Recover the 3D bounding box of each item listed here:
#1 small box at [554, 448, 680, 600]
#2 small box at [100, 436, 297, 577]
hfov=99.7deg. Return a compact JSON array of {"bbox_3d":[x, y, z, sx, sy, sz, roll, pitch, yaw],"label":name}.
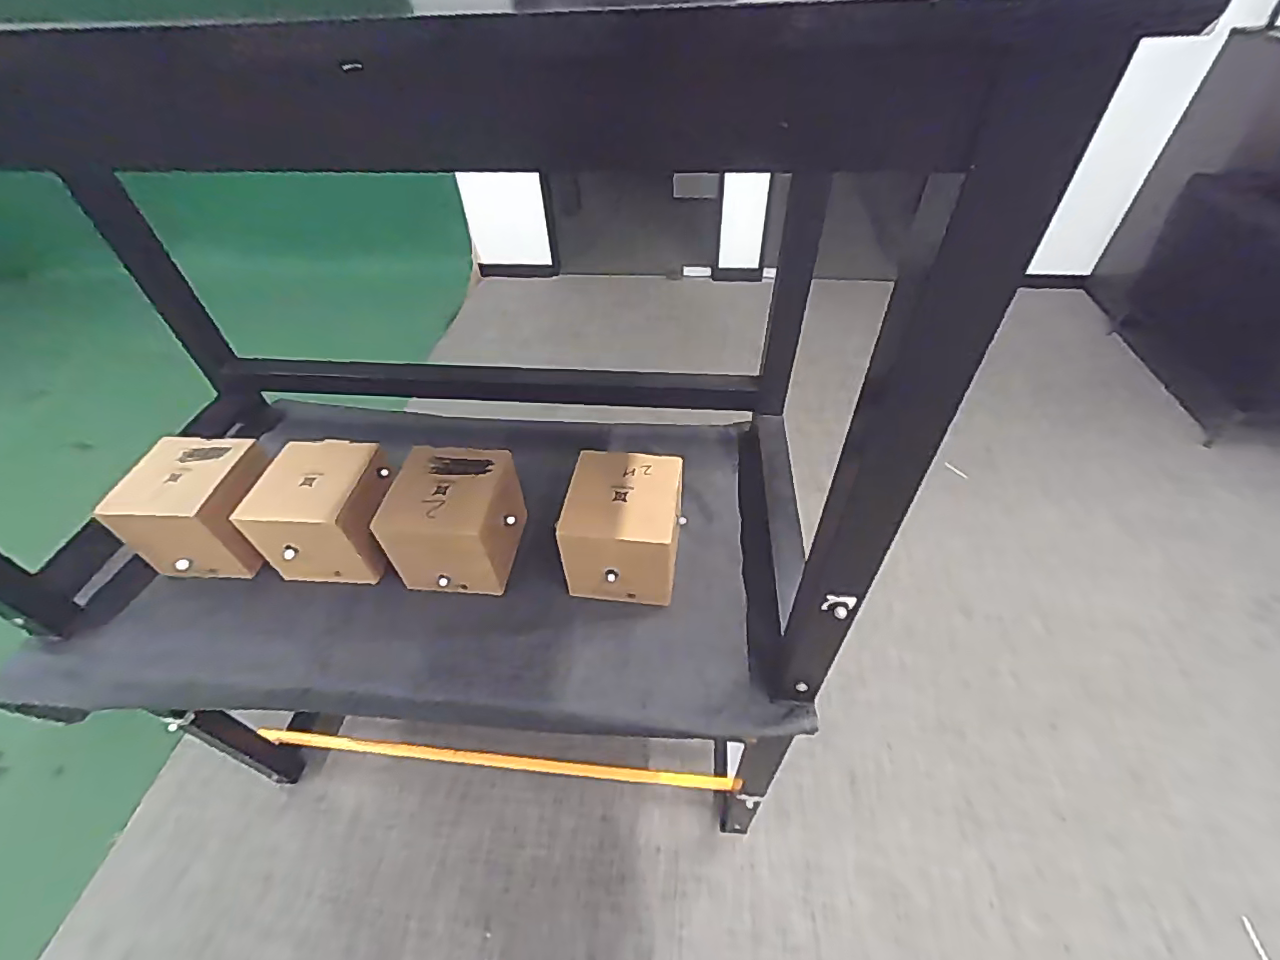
[{"bbox_3d":[-0.026,0.072,0.866,0.168,0.176,0.179,5,47,7],"label":"small box"},{"bbox_3d":[-0.732,0.044,0.929,0.168,0.176,0.179,1,47,4],"label":"small box"}]
